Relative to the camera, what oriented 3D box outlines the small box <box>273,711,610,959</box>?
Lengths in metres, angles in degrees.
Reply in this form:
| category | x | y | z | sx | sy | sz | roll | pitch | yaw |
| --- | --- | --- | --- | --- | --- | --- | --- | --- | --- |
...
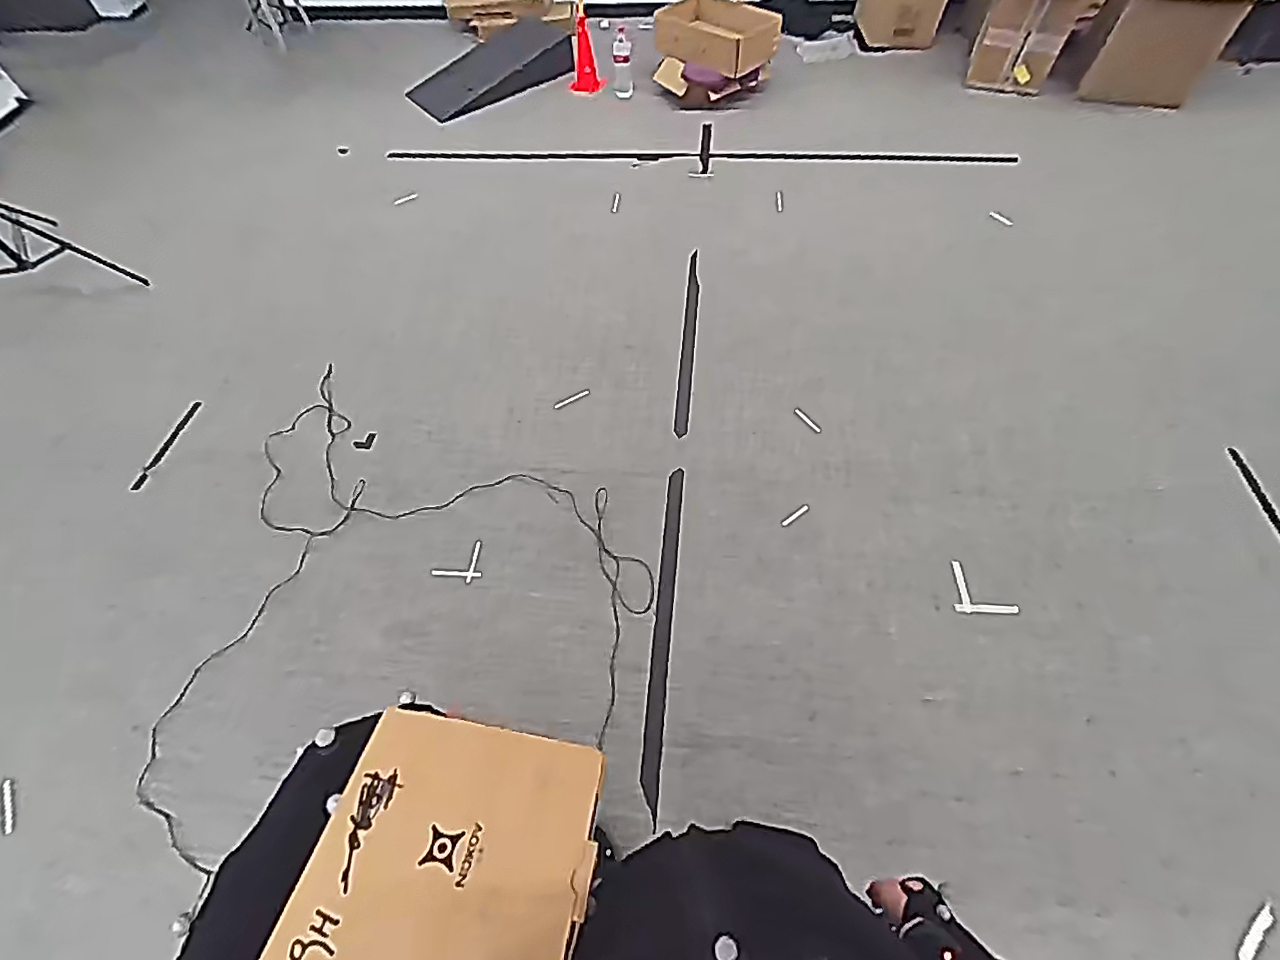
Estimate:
| category | x | y | z | sx | sy | sz | roll | pitch | yaw |
| --- | --- | --- | --- | --- | --- | --- | --- | --- | --- |
| small box | -0.132 | 0.310 | 0.418 | 0.179 | 0.176 | 0.168 | 12 | 42 | 0 |
